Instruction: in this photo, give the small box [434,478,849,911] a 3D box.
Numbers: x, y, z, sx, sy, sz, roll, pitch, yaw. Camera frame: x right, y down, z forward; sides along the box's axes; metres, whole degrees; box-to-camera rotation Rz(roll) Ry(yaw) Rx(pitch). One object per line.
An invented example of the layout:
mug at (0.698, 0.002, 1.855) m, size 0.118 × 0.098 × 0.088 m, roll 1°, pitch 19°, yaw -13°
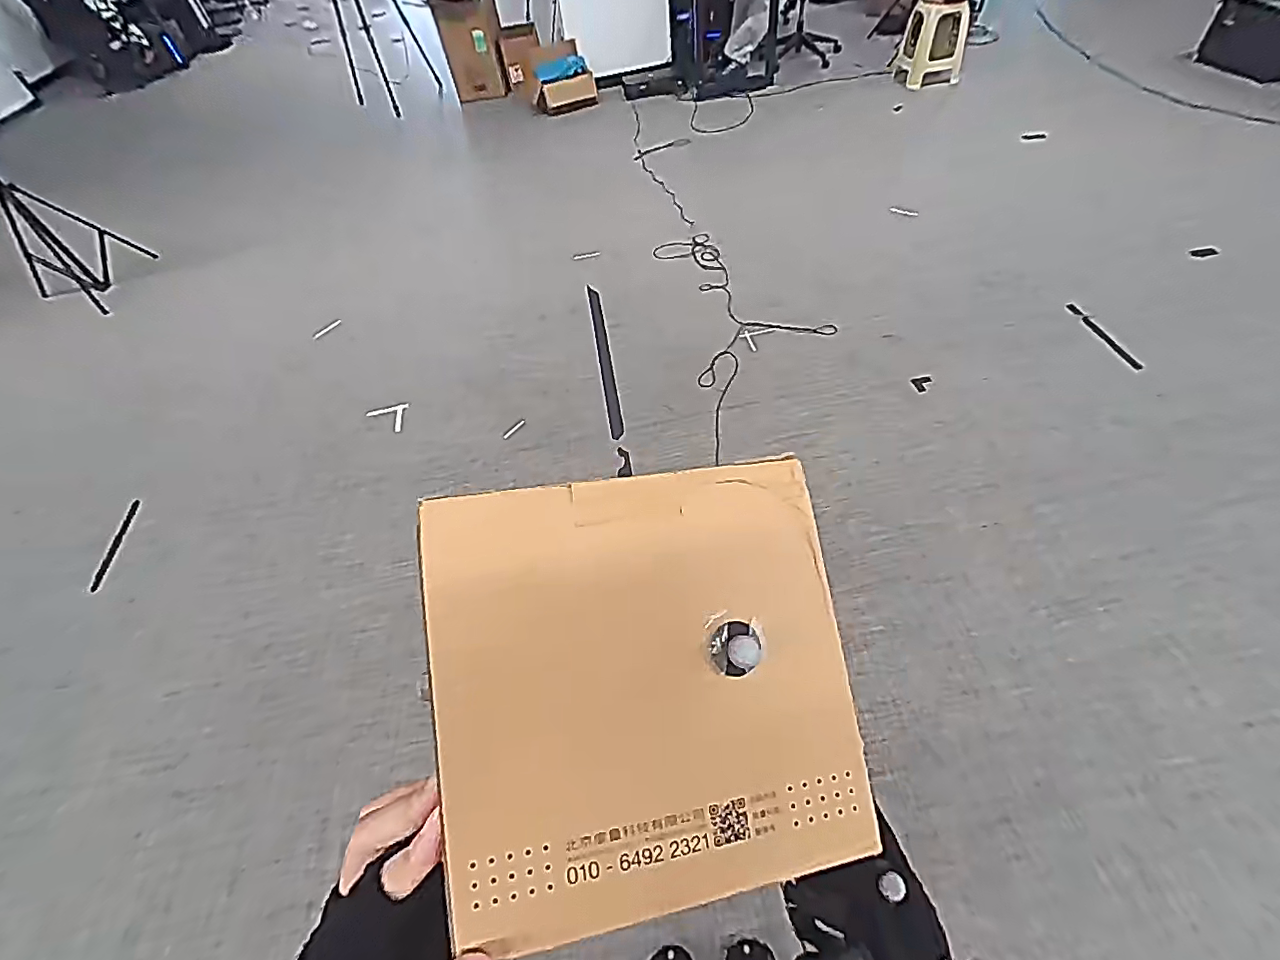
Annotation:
small box at (-0.007, 0.105, 0.309) m, size 0.168 × 0.179 × 0.176 m, roll -7°, pitch 80°, yaw -10°
